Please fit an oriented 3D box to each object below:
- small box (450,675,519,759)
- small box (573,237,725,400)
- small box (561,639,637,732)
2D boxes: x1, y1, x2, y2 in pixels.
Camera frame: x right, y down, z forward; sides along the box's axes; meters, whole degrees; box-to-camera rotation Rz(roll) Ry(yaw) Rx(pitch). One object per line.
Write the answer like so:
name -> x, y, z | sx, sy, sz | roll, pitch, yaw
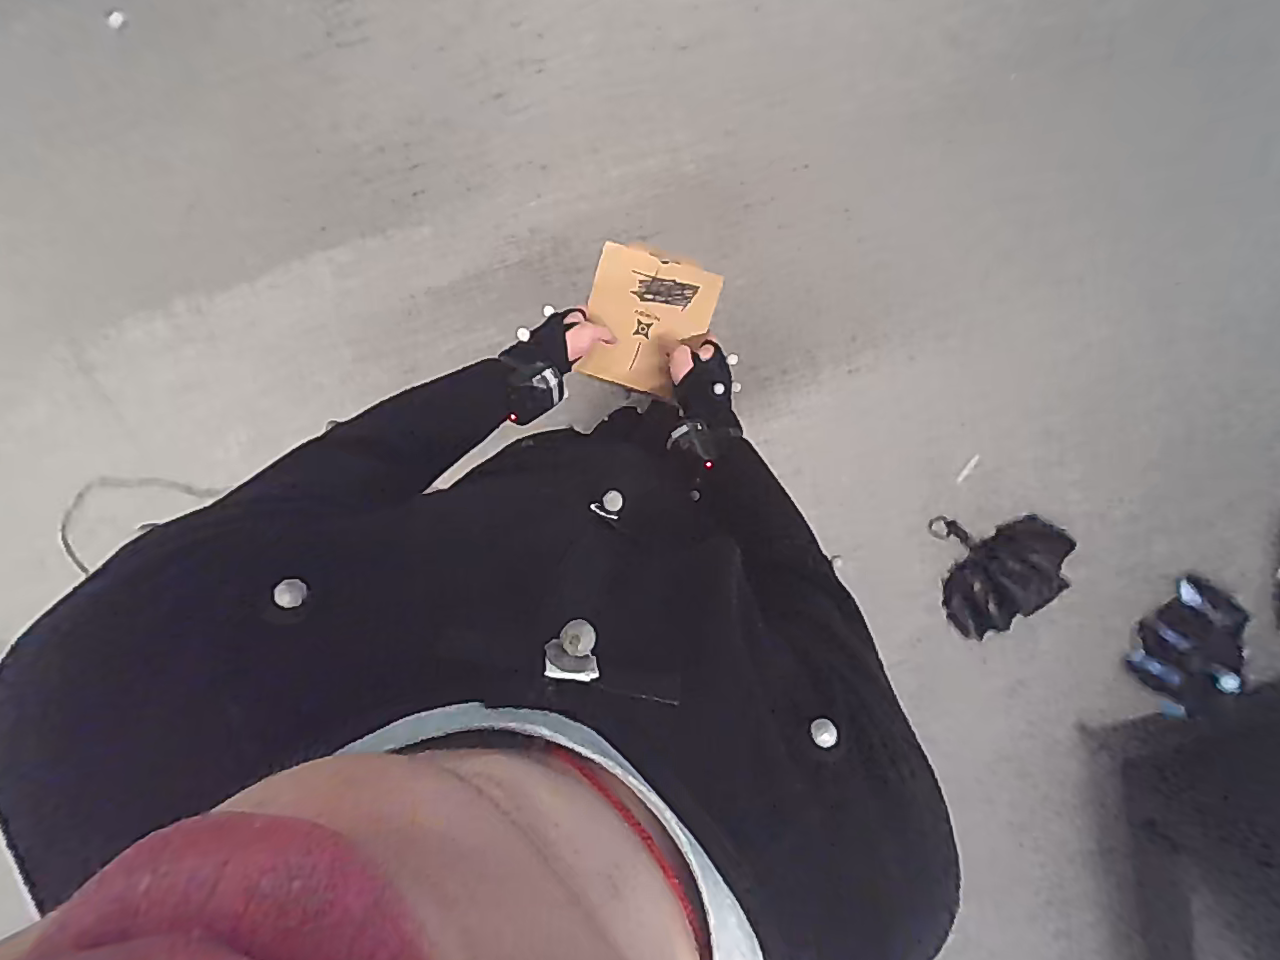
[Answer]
small box -> -0.457, 0.696, 1.606 | 0.168, 0.176, 0.179 | 0, 102, -3
small box -> 0.013, -0.222, 0.789 | 0.168, 0.176, 0.179 | 16, 99, 1
small box -> -0.121, 0.598, 1.604 | 0.168, 0.176, 0.179 | -25, 103, 4
